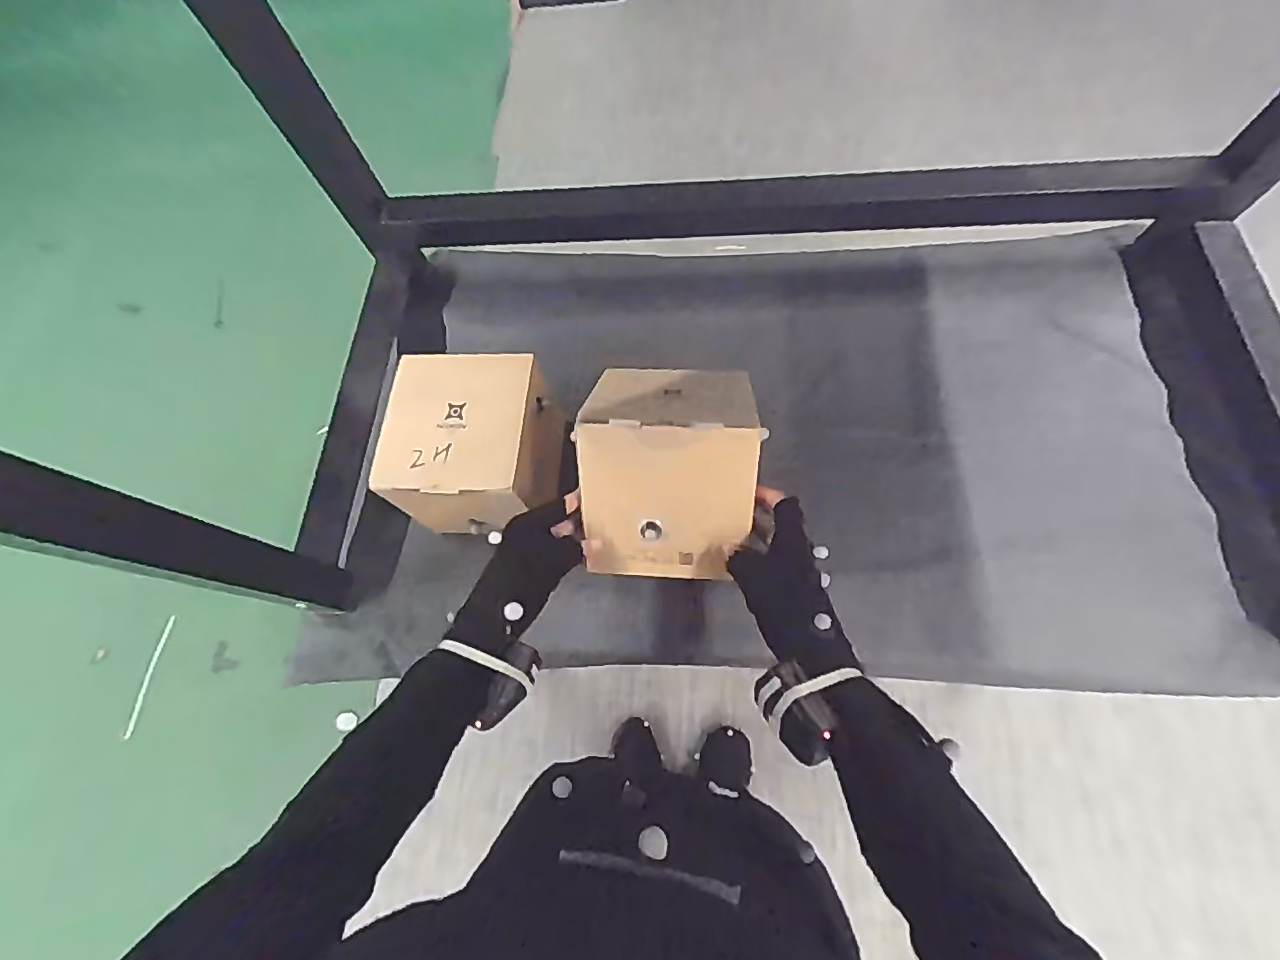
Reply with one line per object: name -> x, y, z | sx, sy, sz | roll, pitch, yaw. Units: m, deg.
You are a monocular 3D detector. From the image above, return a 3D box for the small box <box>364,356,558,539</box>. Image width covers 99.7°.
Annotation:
small box -> -0.207, -0.036, 0.684 | 0.168, 0.176, 0.179 | 1, 67, 7

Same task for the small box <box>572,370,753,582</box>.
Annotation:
small box -> 0.028, -0.013, 0.588 | 0.168, 0.176, 0.179 | 2, 29, 6
